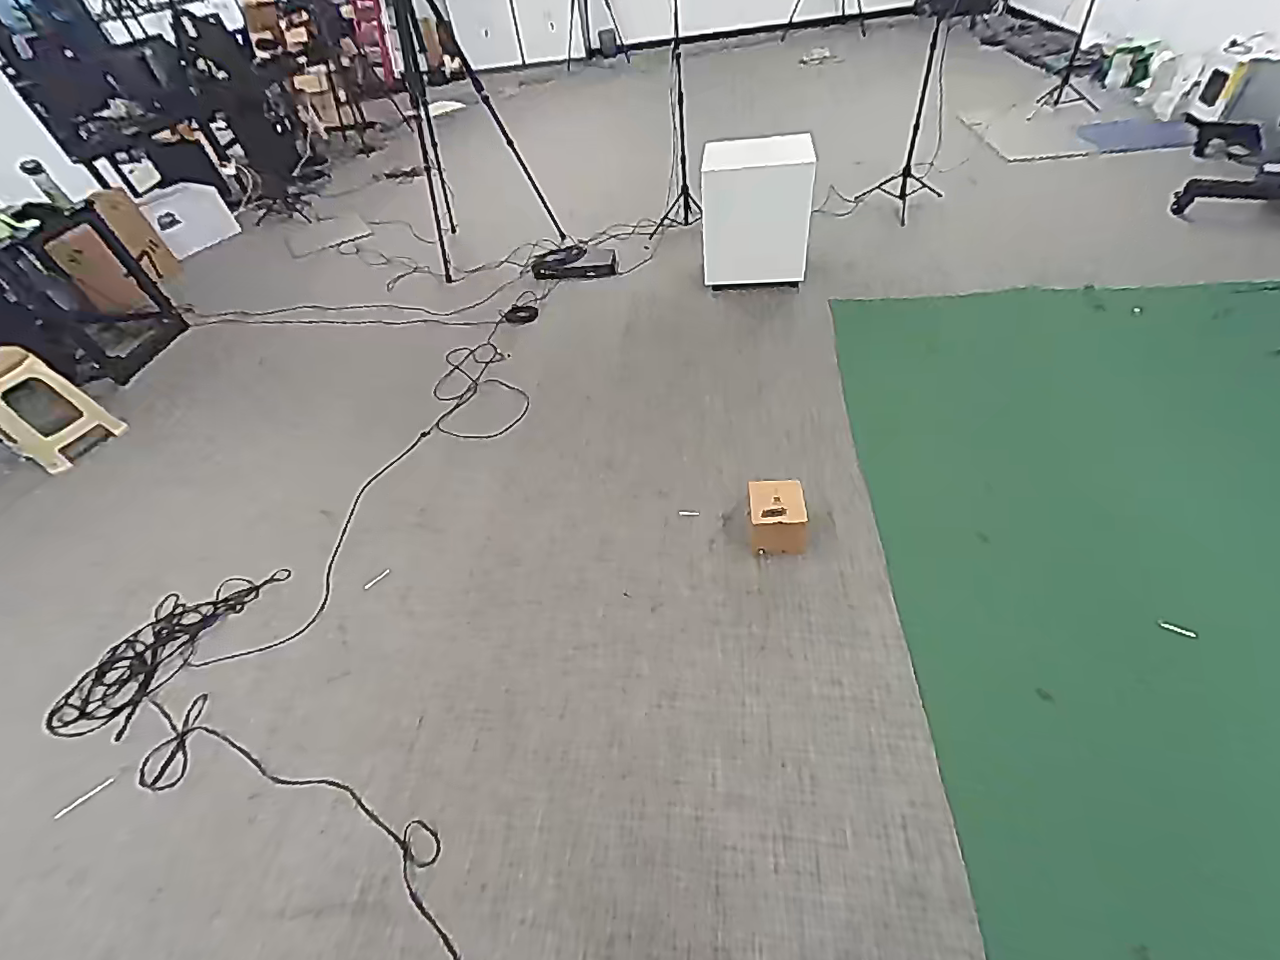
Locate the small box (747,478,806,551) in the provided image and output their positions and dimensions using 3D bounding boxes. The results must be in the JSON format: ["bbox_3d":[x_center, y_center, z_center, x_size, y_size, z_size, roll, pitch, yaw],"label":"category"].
[{"bbox_3d":[0.432,0.115,1.731,0.168,0.176,0.179,-1,47,7],"label":"small box"}]
